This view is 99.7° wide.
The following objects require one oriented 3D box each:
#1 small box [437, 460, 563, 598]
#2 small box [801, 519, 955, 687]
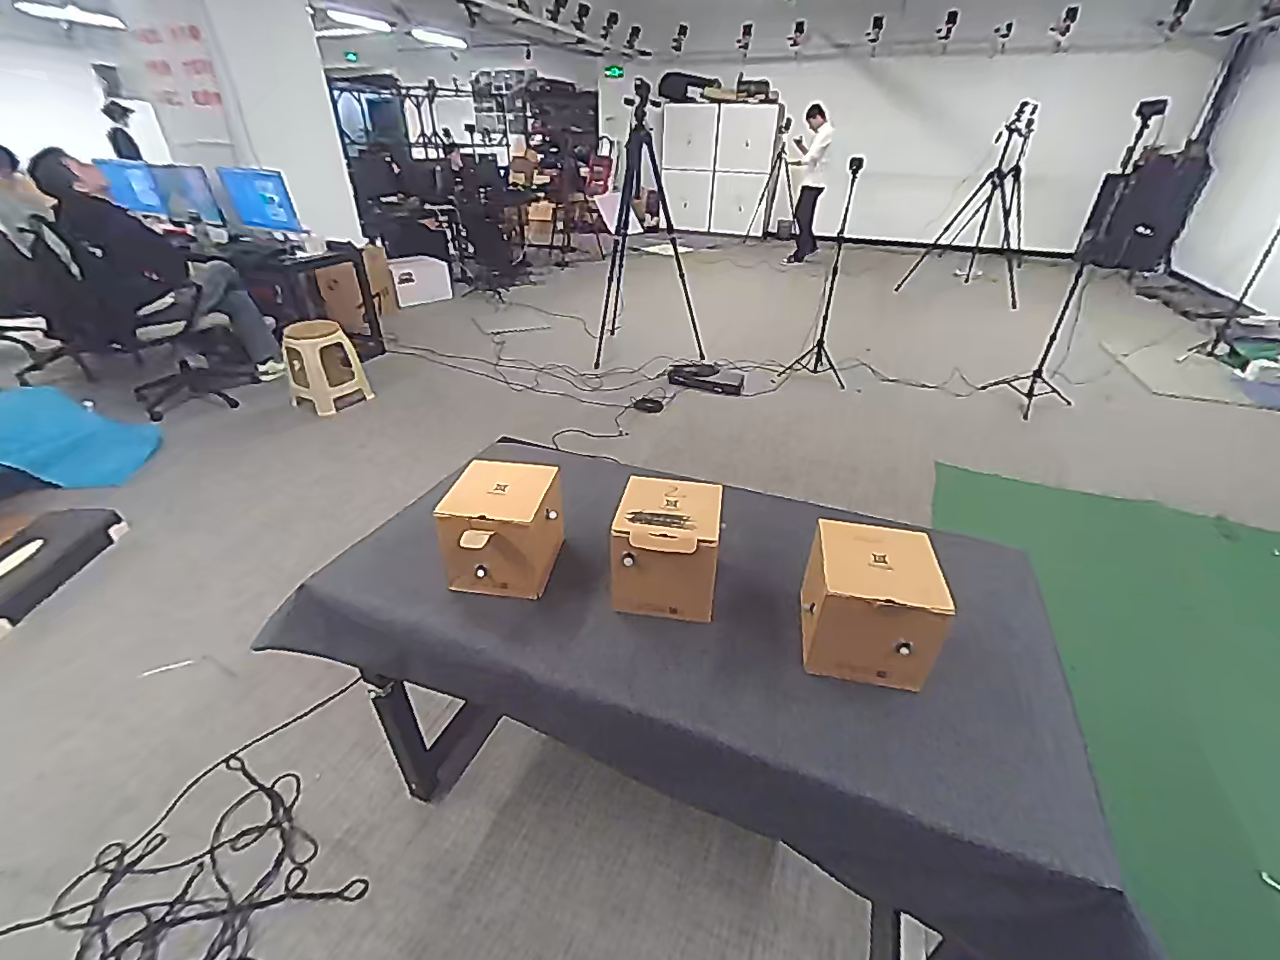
[{"bbox_3d":[-0.238,0.084,0.968,0.168,0.176,0.179,5,33,6],"label":"small box"},{"bbox_3d":[0.346,0.185,0.823,0.168,0.176,0.179,8,32,9],"label":"small box"}]
